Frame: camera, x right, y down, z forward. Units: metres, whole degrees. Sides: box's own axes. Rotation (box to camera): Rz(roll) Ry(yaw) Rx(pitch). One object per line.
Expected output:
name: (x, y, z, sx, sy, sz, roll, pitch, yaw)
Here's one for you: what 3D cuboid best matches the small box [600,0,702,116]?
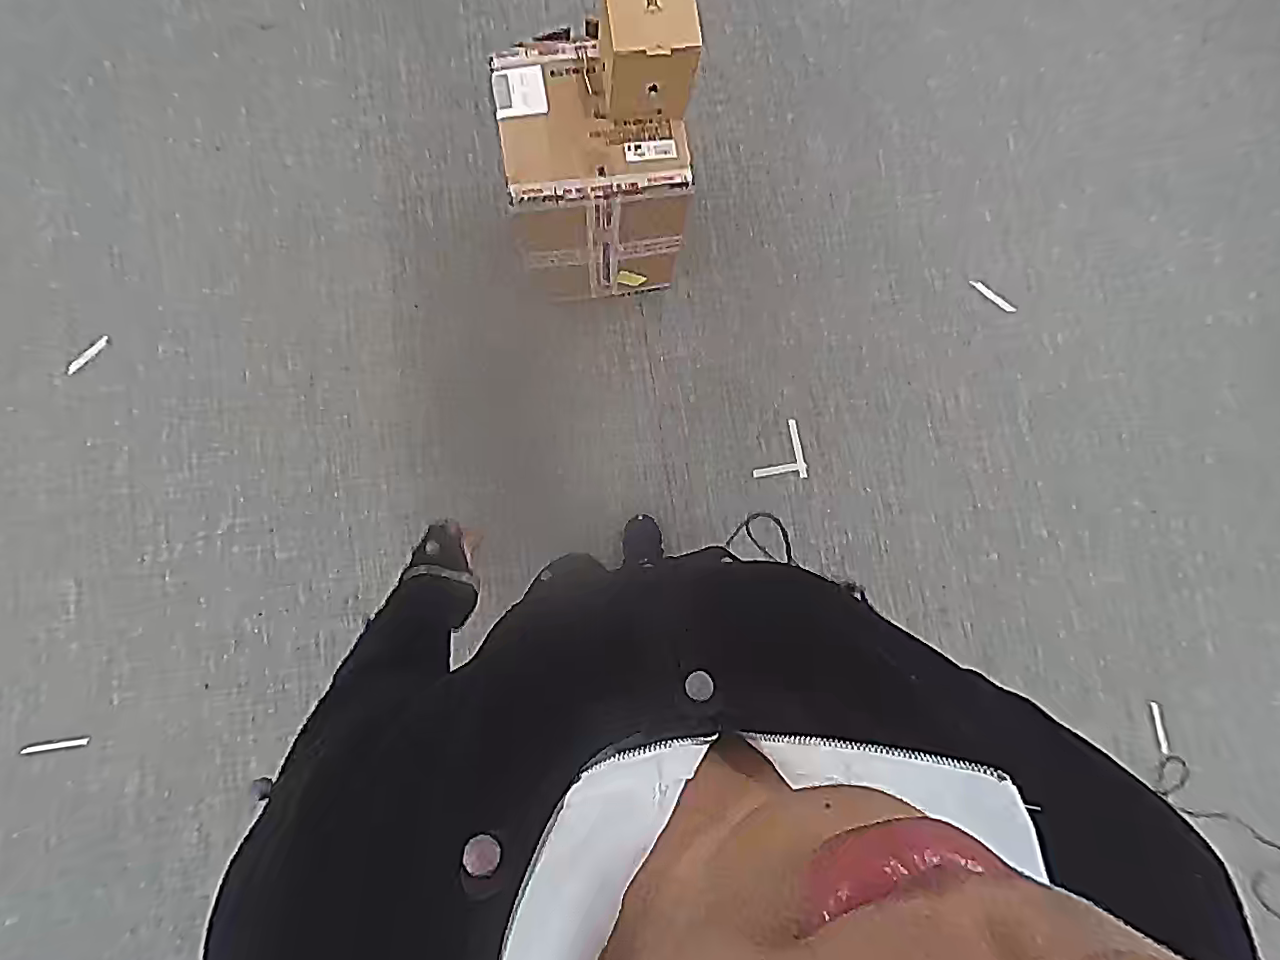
small box: (0.015, -0.841, 1.051, 0.168, 0.176, 0.179, -8, 86, -6)
